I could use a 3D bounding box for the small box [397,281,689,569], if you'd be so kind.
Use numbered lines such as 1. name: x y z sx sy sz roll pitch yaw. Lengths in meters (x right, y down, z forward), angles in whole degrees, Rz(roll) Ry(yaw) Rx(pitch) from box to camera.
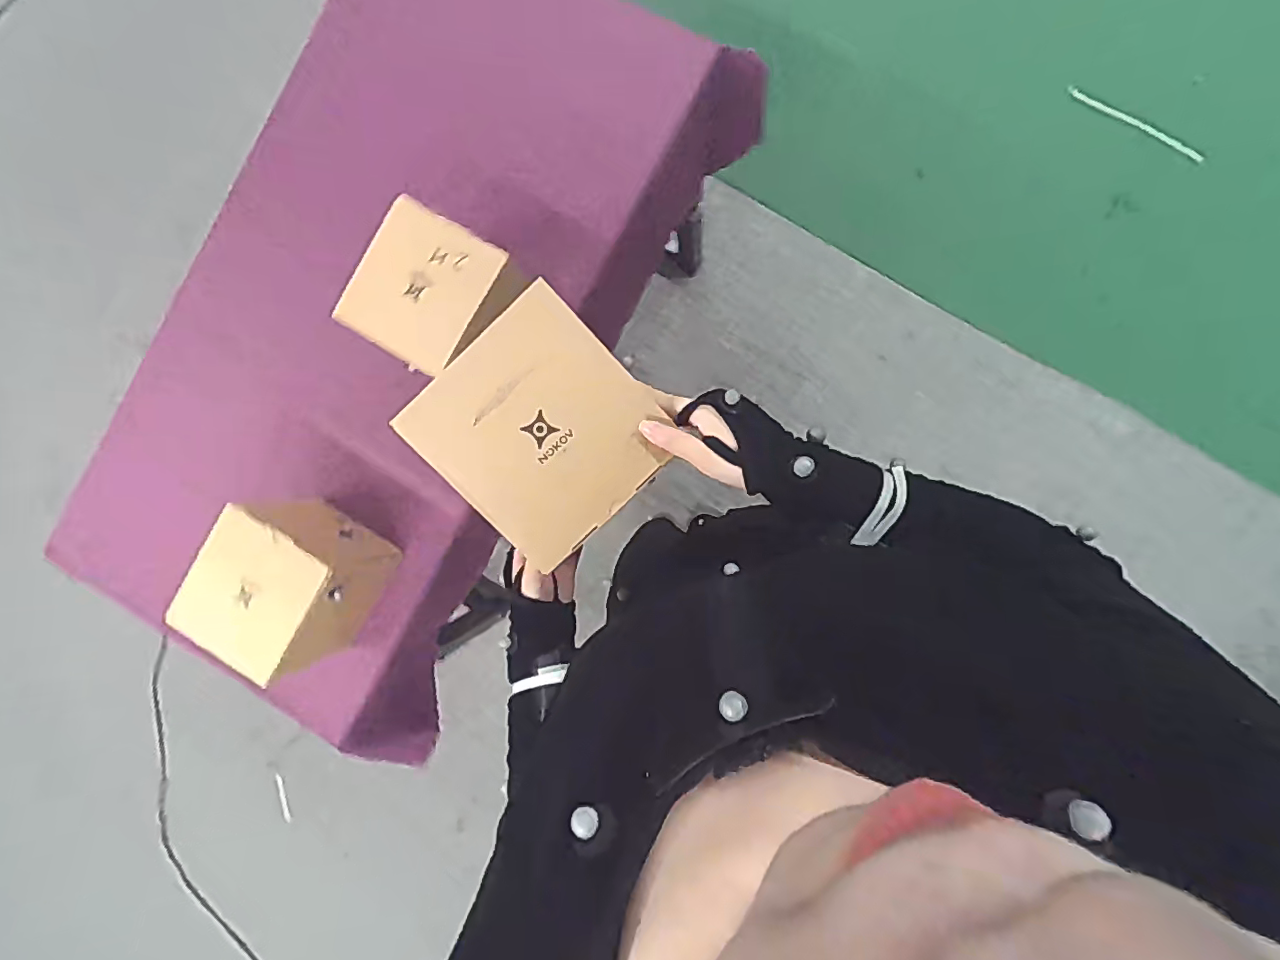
1. small box: -0.080 -0.052 0.510 0.168 0.176 0.179 -43 99 2

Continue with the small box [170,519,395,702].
1. small box: -0.483 0.168 0.759 0.168 0.176 0.179 27 91 6

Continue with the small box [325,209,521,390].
1. small box: -0.277 -0.222 0.744 0.168 0.176 0.179 29 92 5
